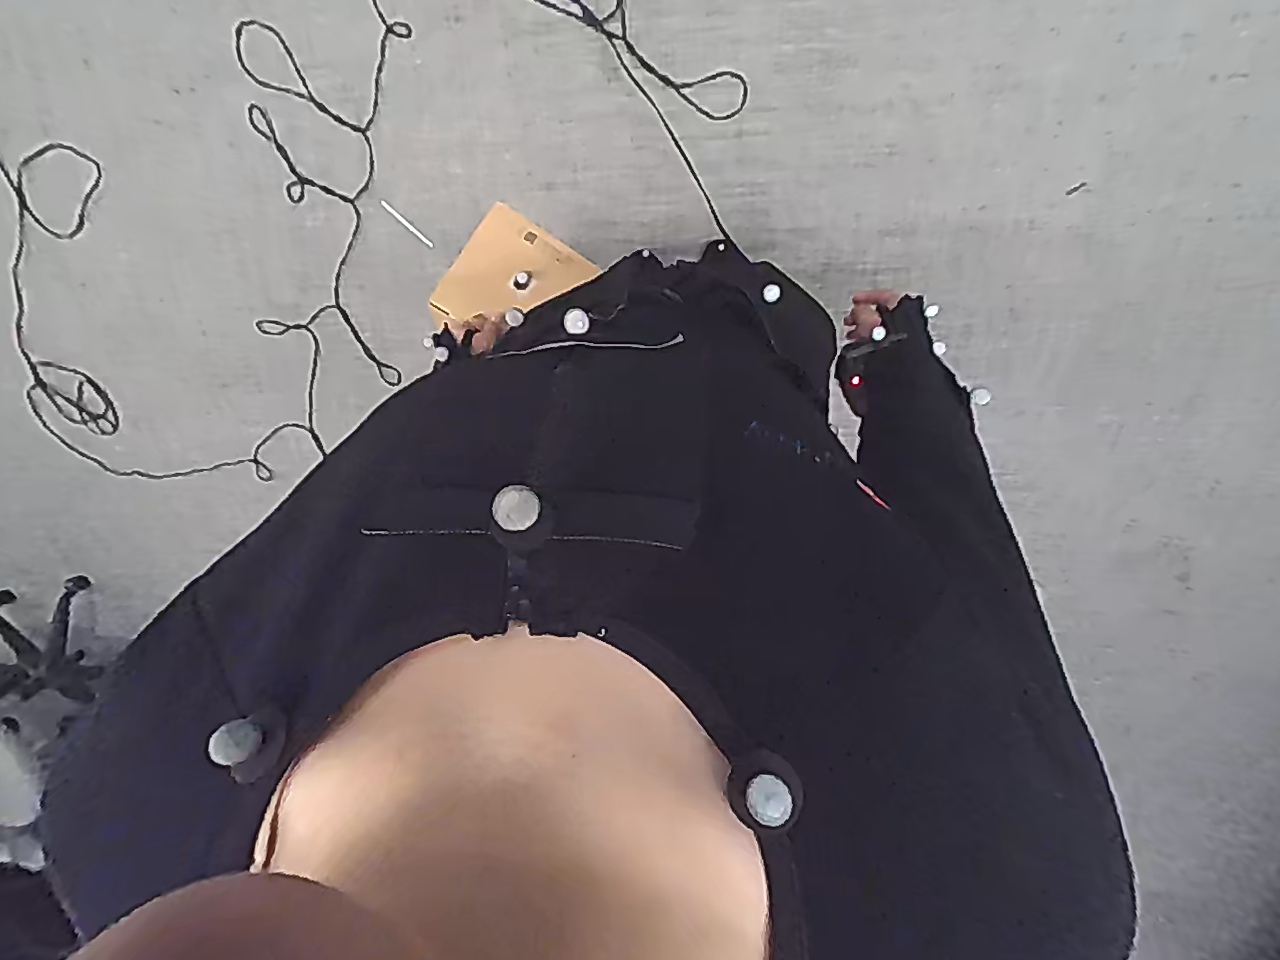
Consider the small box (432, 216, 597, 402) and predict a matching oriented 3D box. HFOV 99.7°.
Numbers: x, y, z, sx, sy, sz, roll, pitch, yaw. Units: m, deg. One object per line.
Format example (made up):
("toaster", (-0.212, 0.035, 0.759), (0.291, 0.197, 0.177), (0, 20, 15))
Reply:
("small box", (-0.179, -0.243, 0.792), (0.168, 0.179, 0.176), (30, 80, -10))
